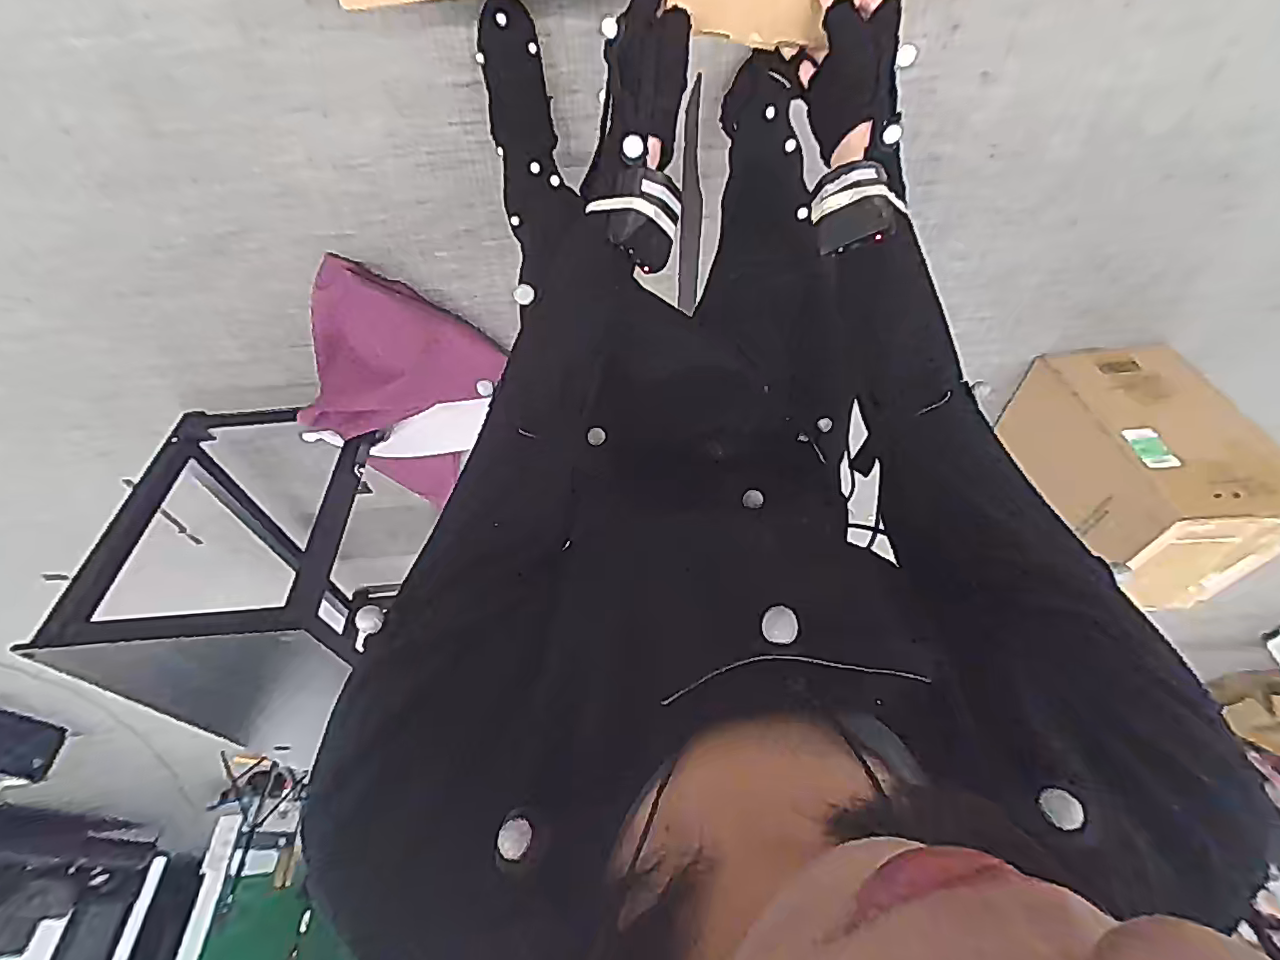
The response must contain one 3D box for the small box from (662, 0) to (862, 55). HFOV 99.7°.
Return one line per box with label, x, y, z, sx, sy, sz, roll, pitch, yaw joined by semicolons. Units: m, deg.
small box;0.108;-0.500;0.443;0.168;0.176;0.179;-2;153;-11
